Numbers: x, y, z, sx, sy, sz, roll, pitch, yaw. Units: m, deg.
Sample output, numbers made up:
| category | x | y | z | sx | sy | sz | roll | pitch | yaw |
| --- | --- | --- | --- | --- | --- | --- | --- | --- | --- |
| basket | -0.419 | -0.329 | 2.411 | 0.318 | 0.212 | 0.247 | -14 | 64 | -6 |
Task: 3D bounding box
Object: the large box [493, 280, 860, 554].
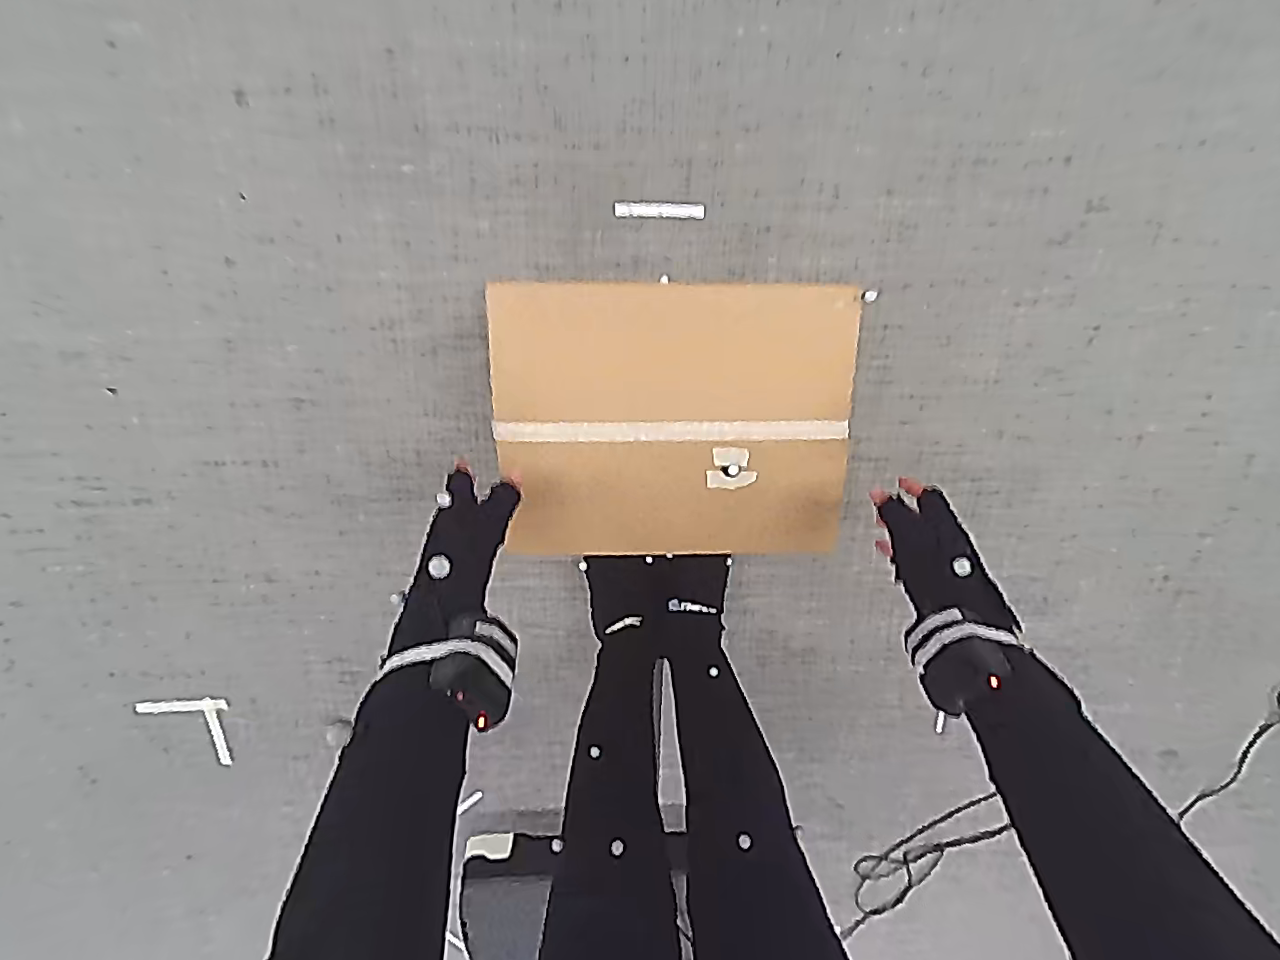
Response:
| category | x | y | z | sx | sy | sz | roll | pitch | yaw |
| --- | --- | --- | --- | --- | --- | --- | --- | --- | --- |
| large box | 0.035 | -0.104 | 0.762 | 0.408 | 0.320 | 0.320 | -1 | 107 | -3 |
